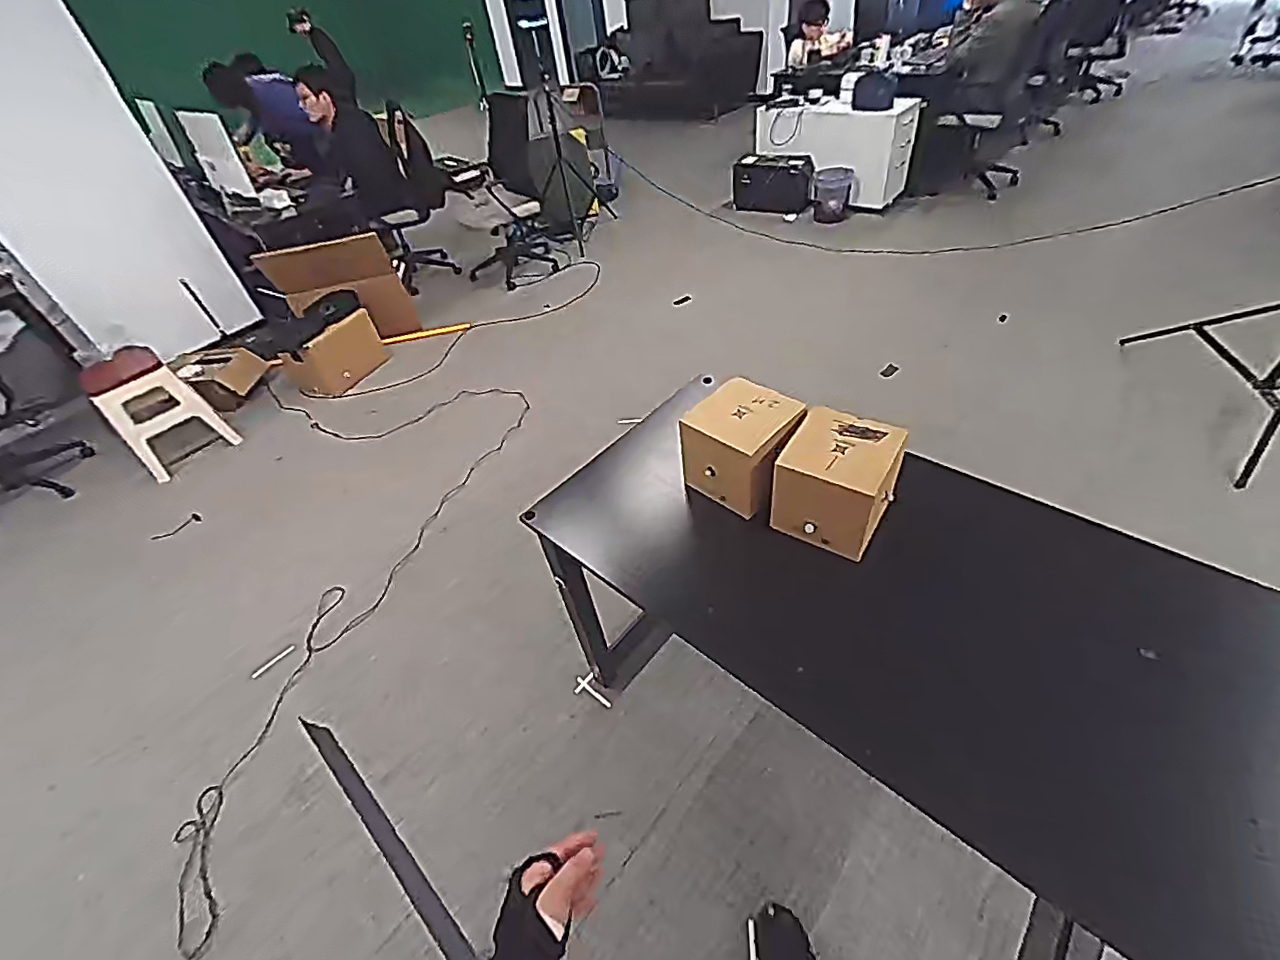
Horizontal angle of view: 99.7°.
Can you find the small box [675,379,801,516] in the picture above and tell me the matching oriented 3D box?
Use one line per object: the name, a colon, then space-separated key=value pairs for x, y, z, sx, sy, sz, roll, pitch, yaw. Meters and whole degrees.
small box: x=0.191 y=-0.062 z=1.048 sx=0.168 sy=0.176 sz=0.179 roll=31 pitch=57 yaw=34
